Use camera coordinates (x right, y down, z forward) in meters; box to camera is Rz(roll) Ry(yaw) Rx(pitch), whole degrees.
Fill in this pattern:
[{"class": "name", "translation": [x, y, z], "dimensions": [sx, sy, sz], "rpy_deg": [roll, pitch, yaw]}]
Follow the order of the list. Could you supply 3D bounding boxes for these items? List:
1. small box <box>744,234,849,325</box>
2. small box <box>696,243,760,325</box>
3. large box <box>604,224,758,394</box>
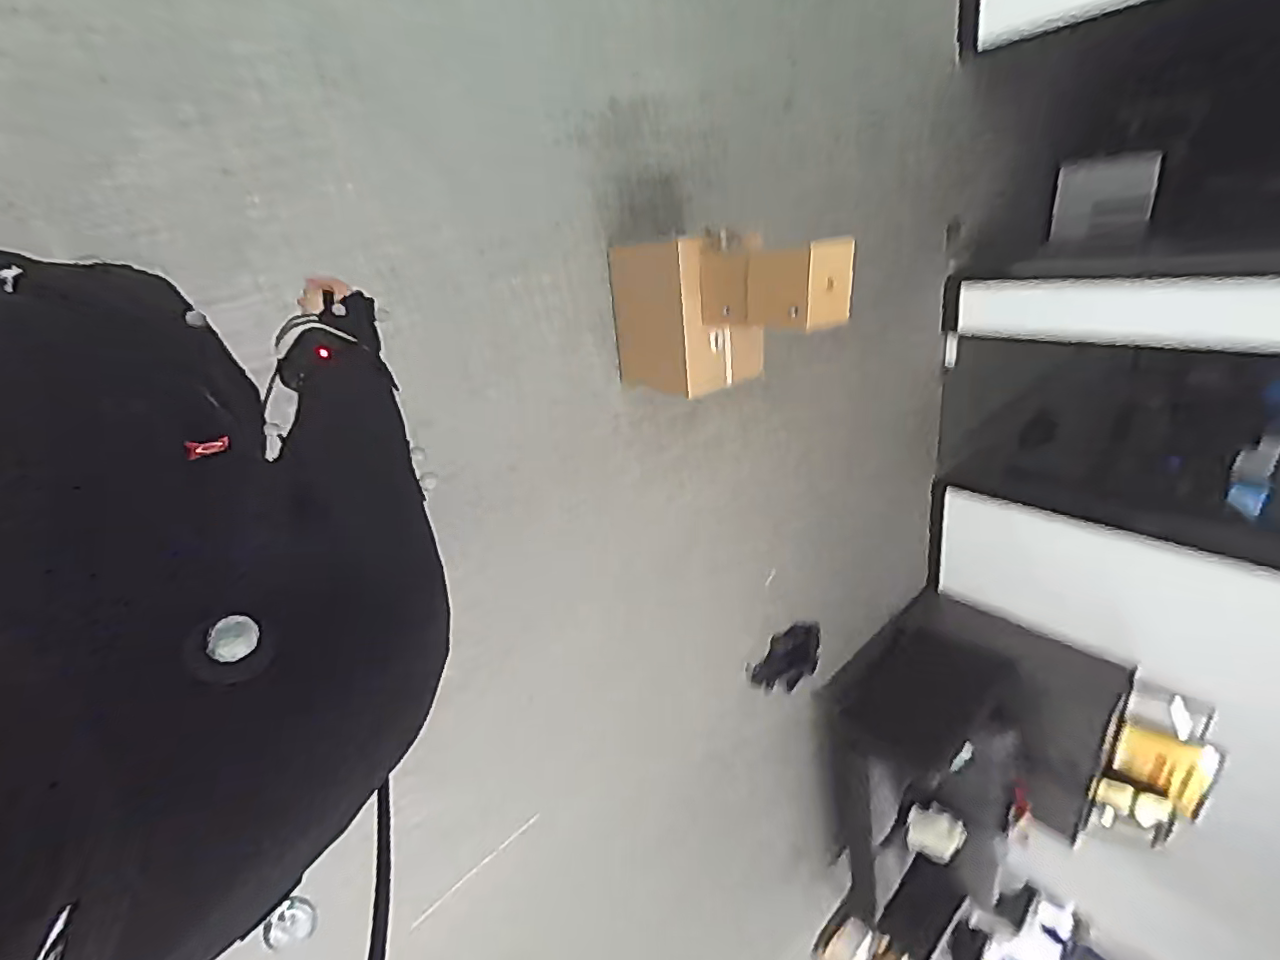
[{"class": "small box", "translation": [0.353, -0.458, 1.234], "dimensions": [0.168, 0.176, 0.179], "rpy_deg": [-22, 120, -34]}, {"class": "small box", "translation": [0.257, -0.498, 1.359], "dimensions": [0.168, 0.176, 0.179], "rpy_deg": [-24, 119, -33]}, {"class": "large box", "translation": [0.124, -0.505, 1.573], "dimensions": [0.320, 0.320, 0.408], "rpy_deg": [-23, 120, -31]}]
